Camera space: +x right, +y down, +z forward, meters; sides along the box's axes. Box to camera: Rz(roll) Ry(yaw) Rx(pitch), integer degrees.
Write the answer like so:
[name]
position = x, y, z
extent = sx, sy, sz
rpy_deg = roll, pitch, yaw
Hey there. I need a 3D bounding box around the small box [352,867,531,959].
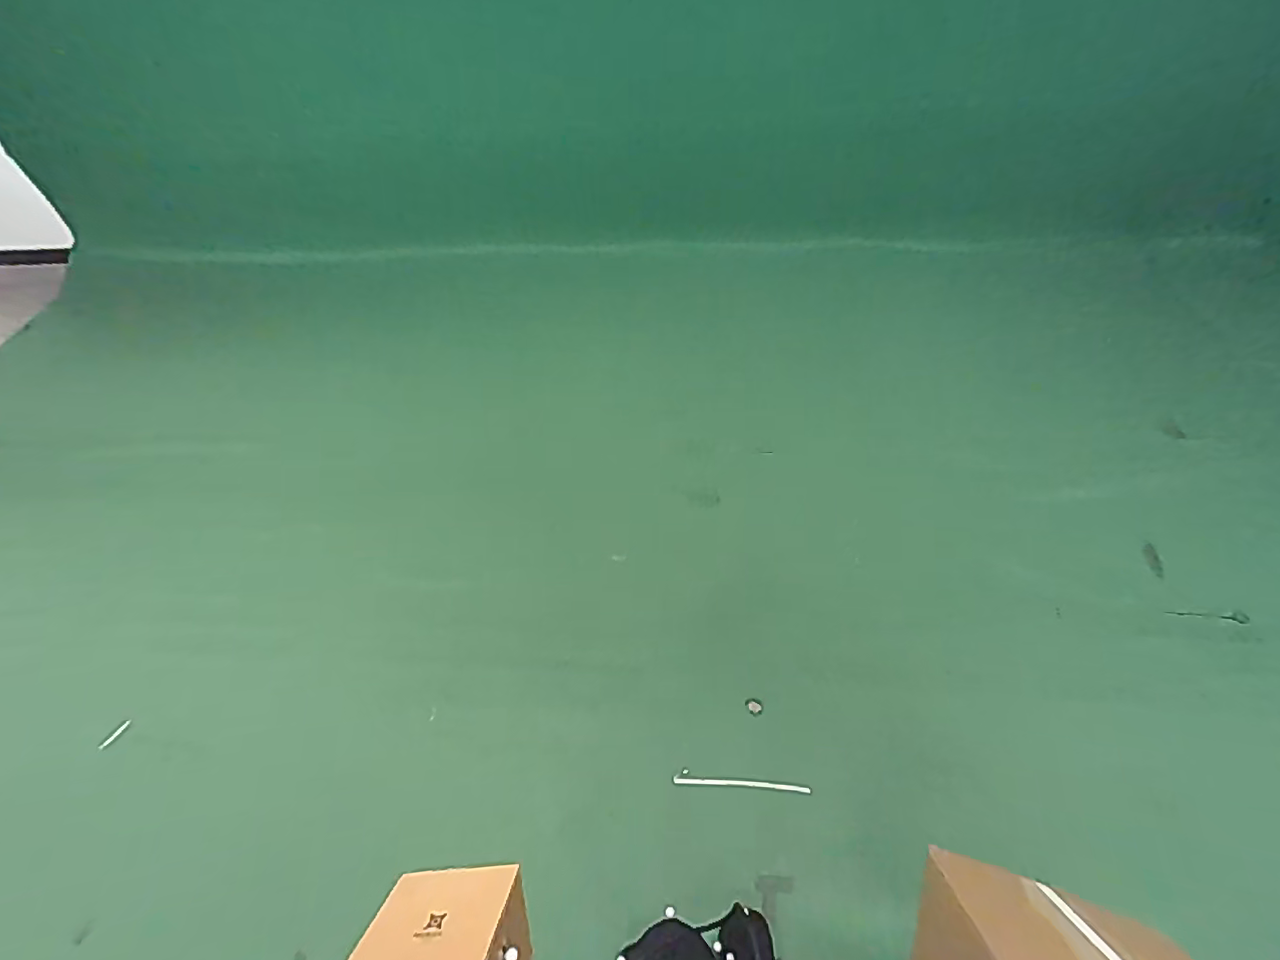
[small box]
position = -0.236, 0.617, 0.655
extent = 0.168, 0.179, 0.176
rpy_deg = -7, 93, 4
